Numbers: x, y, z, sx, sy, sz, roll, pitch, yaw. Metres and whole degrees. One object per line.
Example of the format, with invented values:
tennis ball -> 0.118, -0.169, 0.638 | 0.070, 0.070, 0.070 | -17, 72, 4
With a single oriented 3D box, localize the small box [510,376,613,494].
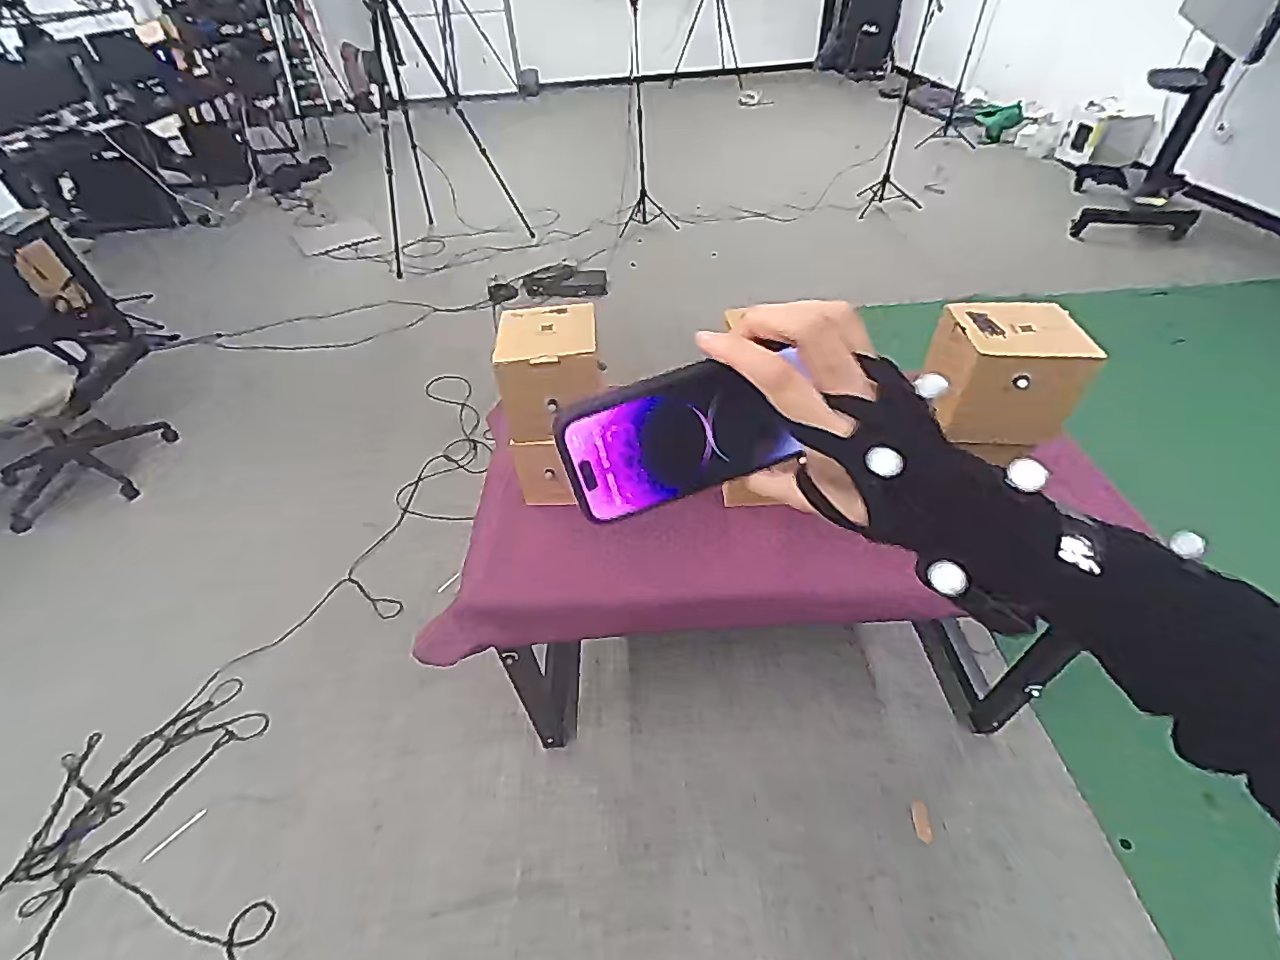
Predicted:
small box -> -0.144, -0.085, 1.071 | 0.168, 0.176, 0.179 | -1, 45, 3

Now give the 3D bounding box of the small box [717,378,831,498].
small box -> 0.245, -0.078, 1.037 | 0.179, 0.176, 0.168 | -1, 45, 3

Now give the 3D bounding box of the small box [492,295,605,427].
small box -> -0.152, -0.205, 0.960 | 0.168, 0.176, 0.179 | -4, 46, -1

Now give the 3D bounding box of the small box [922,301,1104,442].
small box -> 0.586, -0.177, 0.885 | 0.179, 0.176, 0.168 | 4, 46, 6

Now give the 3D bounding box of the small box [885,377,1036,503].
small box -> 0.585, -0.073, 1.013 | 0.179, 0.176, 0.168 | 3, 45, 7
